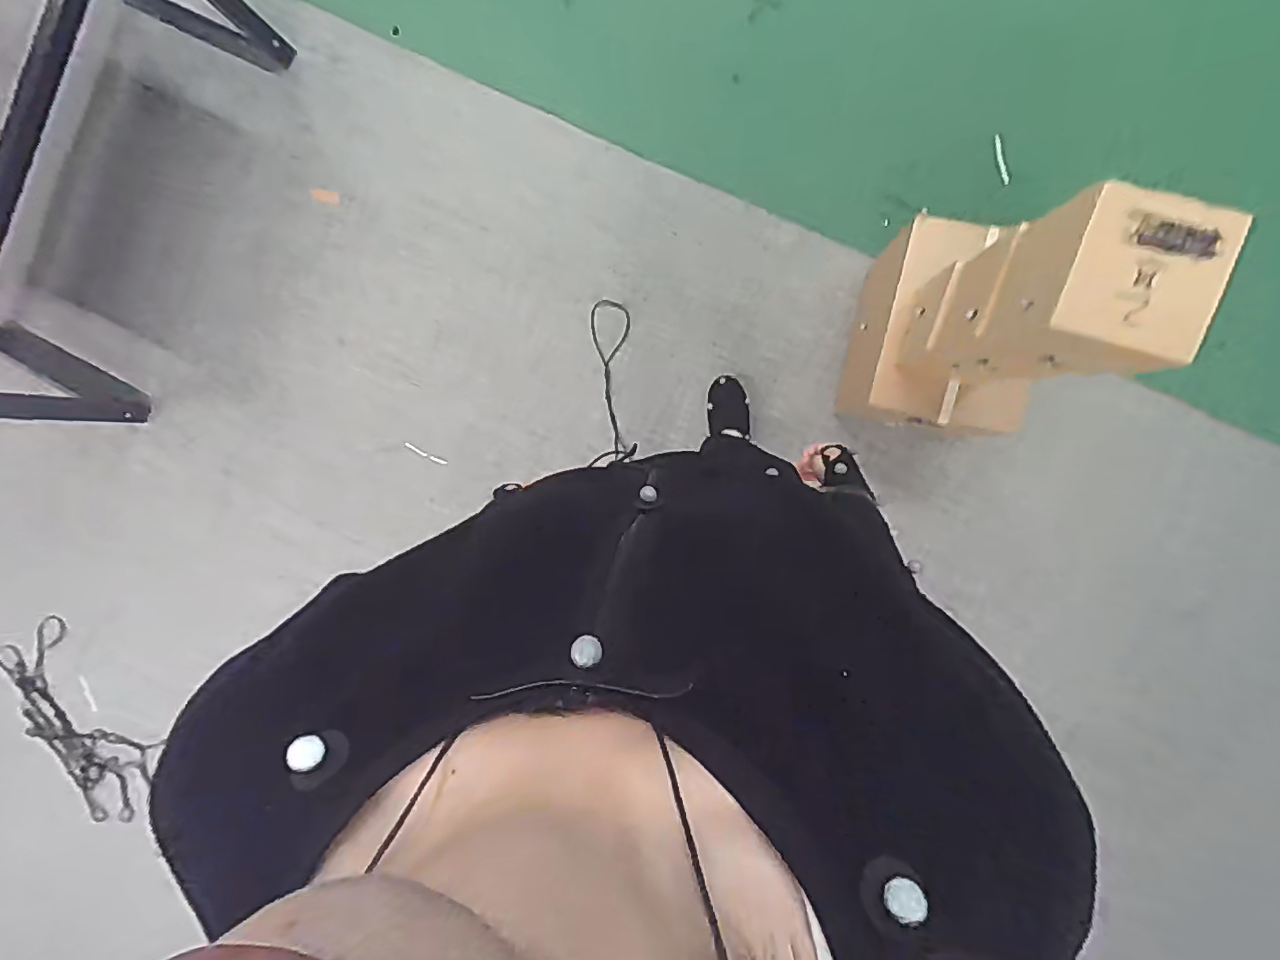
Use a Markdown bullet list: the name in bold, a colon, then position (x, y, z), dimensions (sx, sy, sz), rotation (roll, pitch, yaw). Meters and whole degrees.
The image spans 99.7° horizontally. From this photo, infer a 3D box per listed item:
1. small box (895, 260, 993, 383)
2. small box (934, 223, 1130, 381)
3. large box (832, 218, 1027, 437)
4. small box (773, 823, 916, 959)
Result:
- **small box**: position (0.618, -0.290, 1.027), dimensions (0.179, 0.176, 0.168), rotation (18, 96, 4)
- **small box**: position (0.607, -0.272, 0.866), dimensions (0.168, 0.176, 0.179), rotation (19, 97, 4)
- **large box**: position (0.677, -0.326, 1.266), dimensions (0.320, 0.320, 0.408), rotation (12, 94, 3)
- **small box**: position (0.353, 0.767, 0.964), dimensions (0.179, 0.176, 0.168), rotation (-29, 92, 6)
